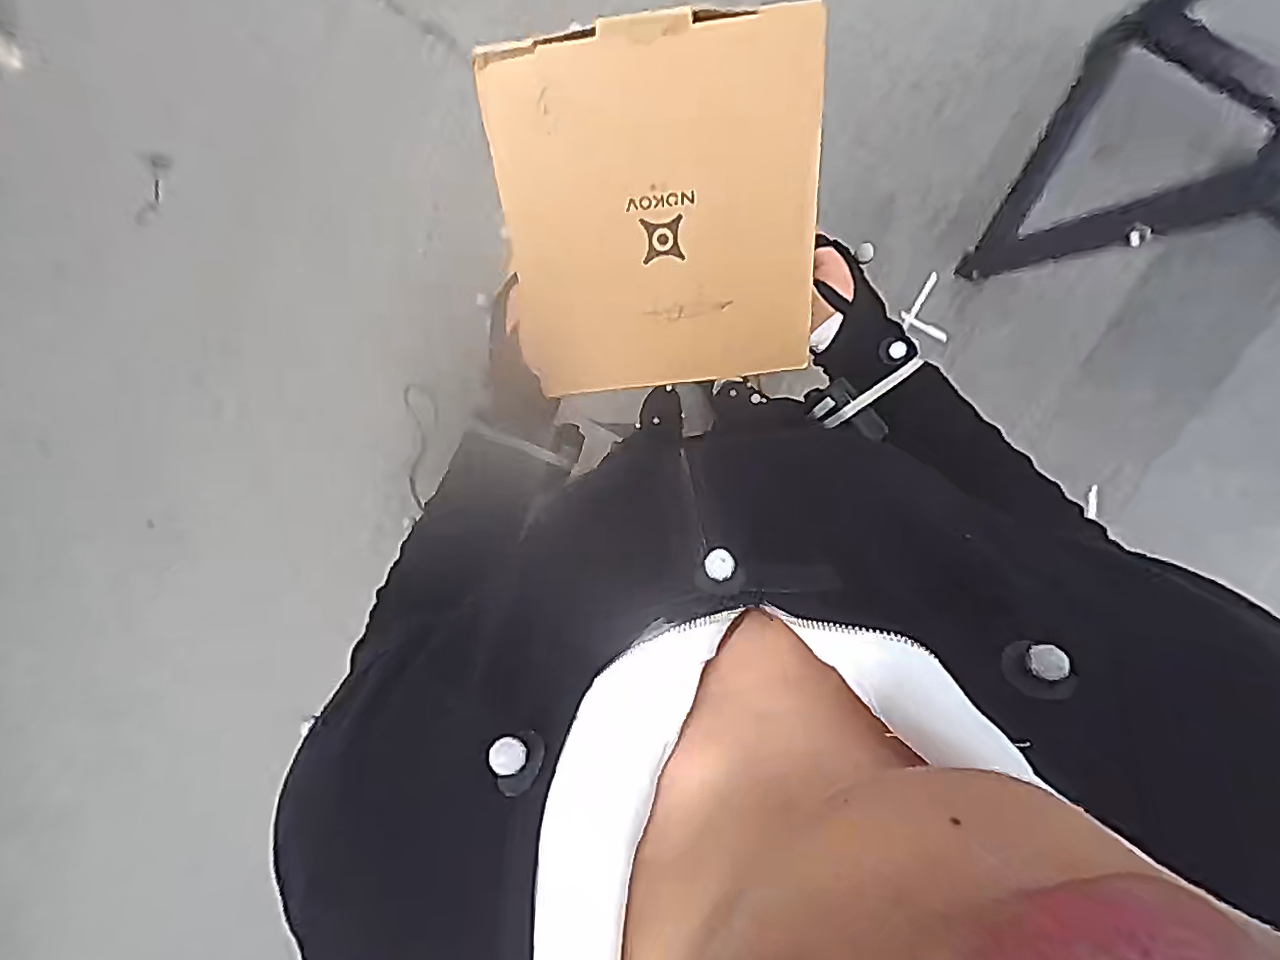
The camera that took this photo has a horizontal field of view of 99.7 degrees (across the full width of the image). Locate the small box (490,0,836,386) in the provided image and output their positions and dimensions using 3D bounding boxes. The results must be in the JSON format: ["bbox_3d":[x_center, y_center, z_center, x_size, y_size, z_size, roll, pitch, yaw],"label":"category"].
[{"bbox_3d":[0.016,-0.180,0.359,0.168,0.176,0.179,-5,122,4],"label":"small box"}]
